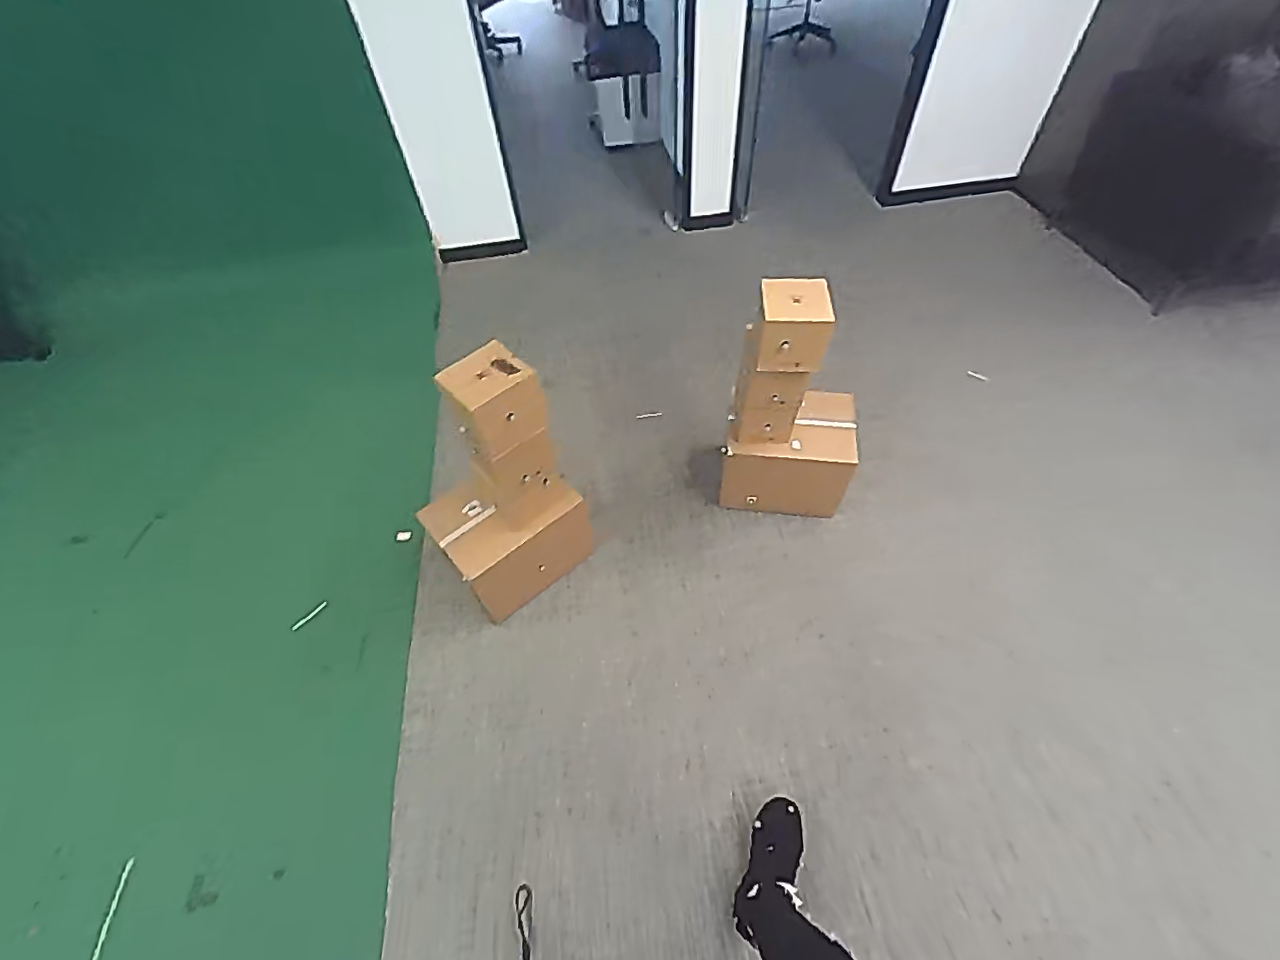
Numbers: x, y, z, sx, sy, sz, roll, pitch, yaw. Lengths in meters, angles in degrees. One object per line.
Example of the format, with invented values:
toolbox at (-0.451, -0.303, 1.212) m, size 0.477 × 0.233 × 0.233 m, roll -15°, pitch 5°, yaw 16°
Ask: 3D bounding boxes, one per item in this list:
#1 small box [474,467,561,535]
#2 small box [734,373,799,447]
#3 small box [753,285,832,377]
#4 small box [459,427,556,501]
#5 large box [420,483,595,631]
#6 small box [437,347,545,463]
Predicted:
small box at (-0.341, 0.020, 1.548) m, size 0.179 × 0.176 × 0.168 m, roll -37°, pitch 58°, yaw -23°
small box at (0.390, -0.216, 1.696) m, size 0.168 × 0.176 × 0.179 m, roll 0°, pitch 53°, yaw 2°
small box at (0.391, -0.385, 1.413) m, size 0.168 × 0.176 × 0.179 m, roll 1°, pitch 52°, yaw 4°
small box at (-0.342, -0.077, 1.417) m, size 0.168 × 0.176 × 0.179 m, roll -36°, pitch 59°, yaw -22°
large box at (-0.404, 0.196, 1.727) m, size 0.408 × 0.320 × 0.320 m, roll -37°, pitch 57°, yaw -22°
small box at (-0.344, -0.177, 1.288) m, size 0.179 × 0.176 × 0.168 m, roll -38°, pitch 59°, yaw -22°
